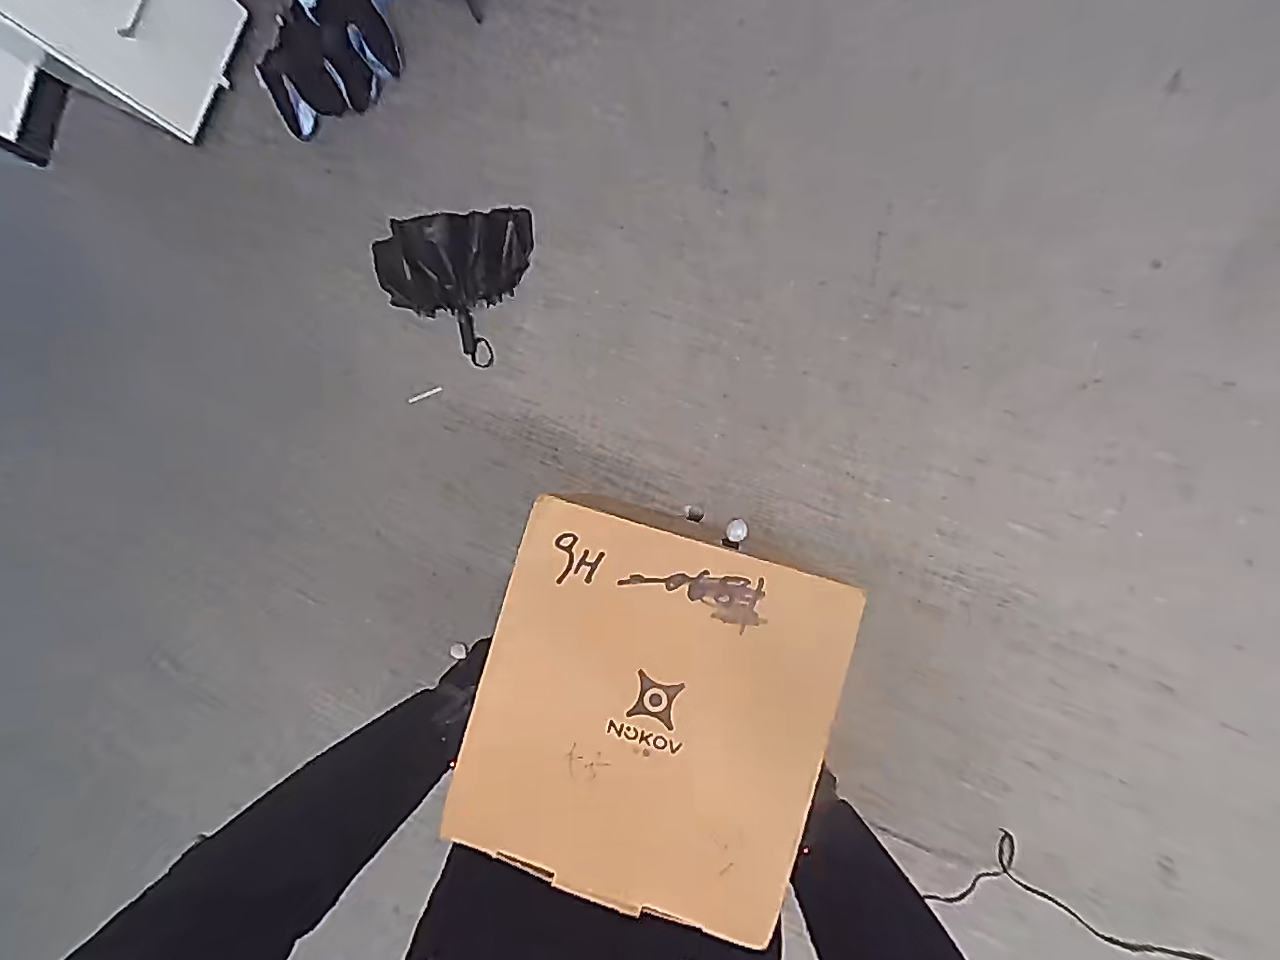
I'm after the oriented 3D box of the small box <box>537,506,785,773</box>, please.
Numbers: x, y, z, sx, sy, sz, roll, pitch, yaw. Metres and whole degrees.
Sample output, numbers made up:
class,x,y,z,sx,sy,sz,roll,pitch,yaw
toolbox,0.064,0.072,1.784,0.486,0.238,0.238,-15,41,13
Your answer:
class,x,y,z,sx,sy,sz,roll,pitch,yaw
small box,0.022,0.126,0.501,0.168,0.176,0.179,13,88,5
